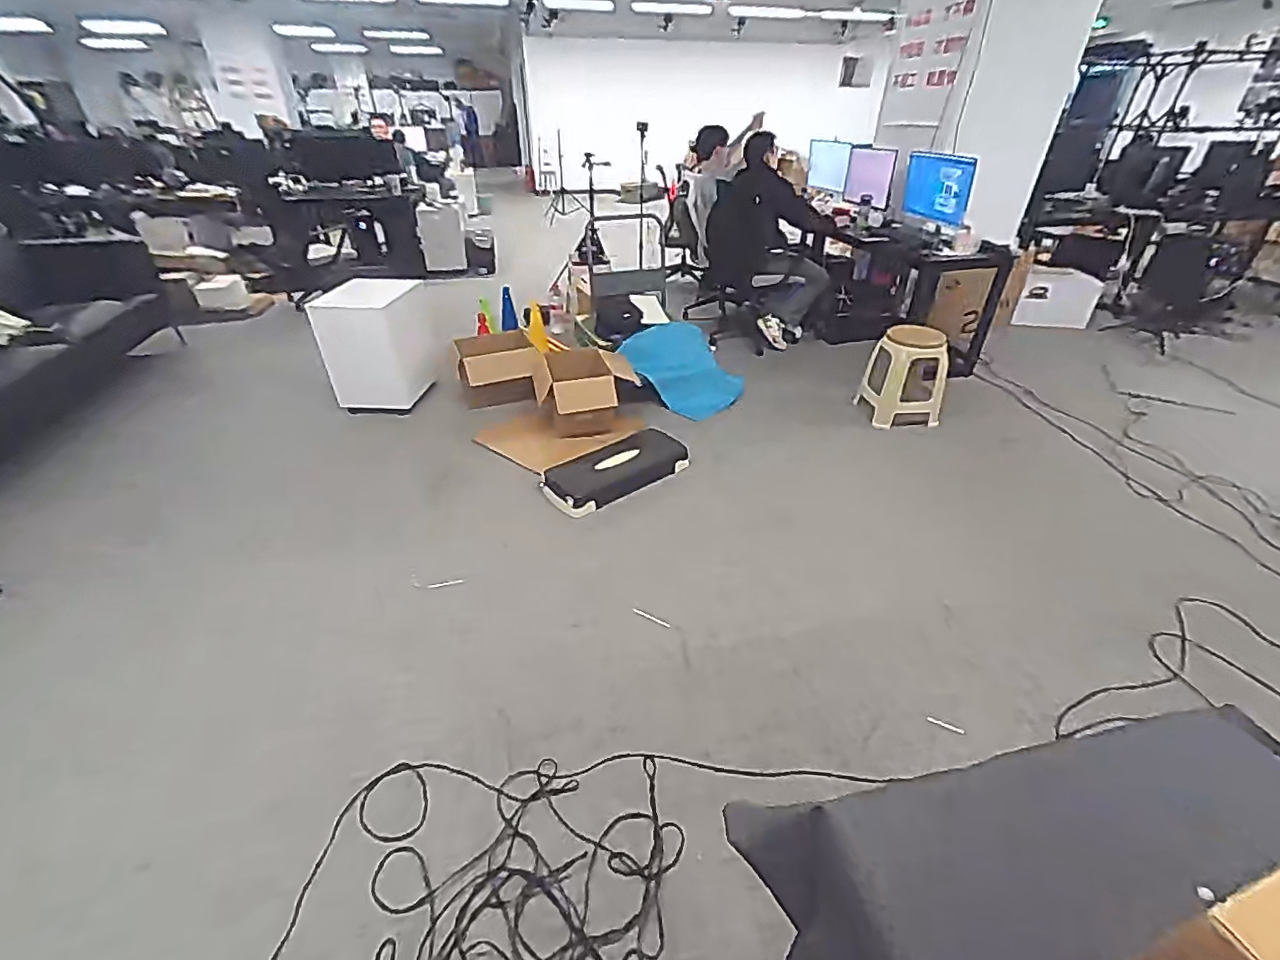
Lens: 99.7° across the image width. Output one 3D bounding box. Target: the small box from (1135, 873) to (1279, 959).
[{"bbox_3d":[0.541,0.422,0.414,0.179,0.176,0.168,-11,36,-16],"label":"small box"}]
